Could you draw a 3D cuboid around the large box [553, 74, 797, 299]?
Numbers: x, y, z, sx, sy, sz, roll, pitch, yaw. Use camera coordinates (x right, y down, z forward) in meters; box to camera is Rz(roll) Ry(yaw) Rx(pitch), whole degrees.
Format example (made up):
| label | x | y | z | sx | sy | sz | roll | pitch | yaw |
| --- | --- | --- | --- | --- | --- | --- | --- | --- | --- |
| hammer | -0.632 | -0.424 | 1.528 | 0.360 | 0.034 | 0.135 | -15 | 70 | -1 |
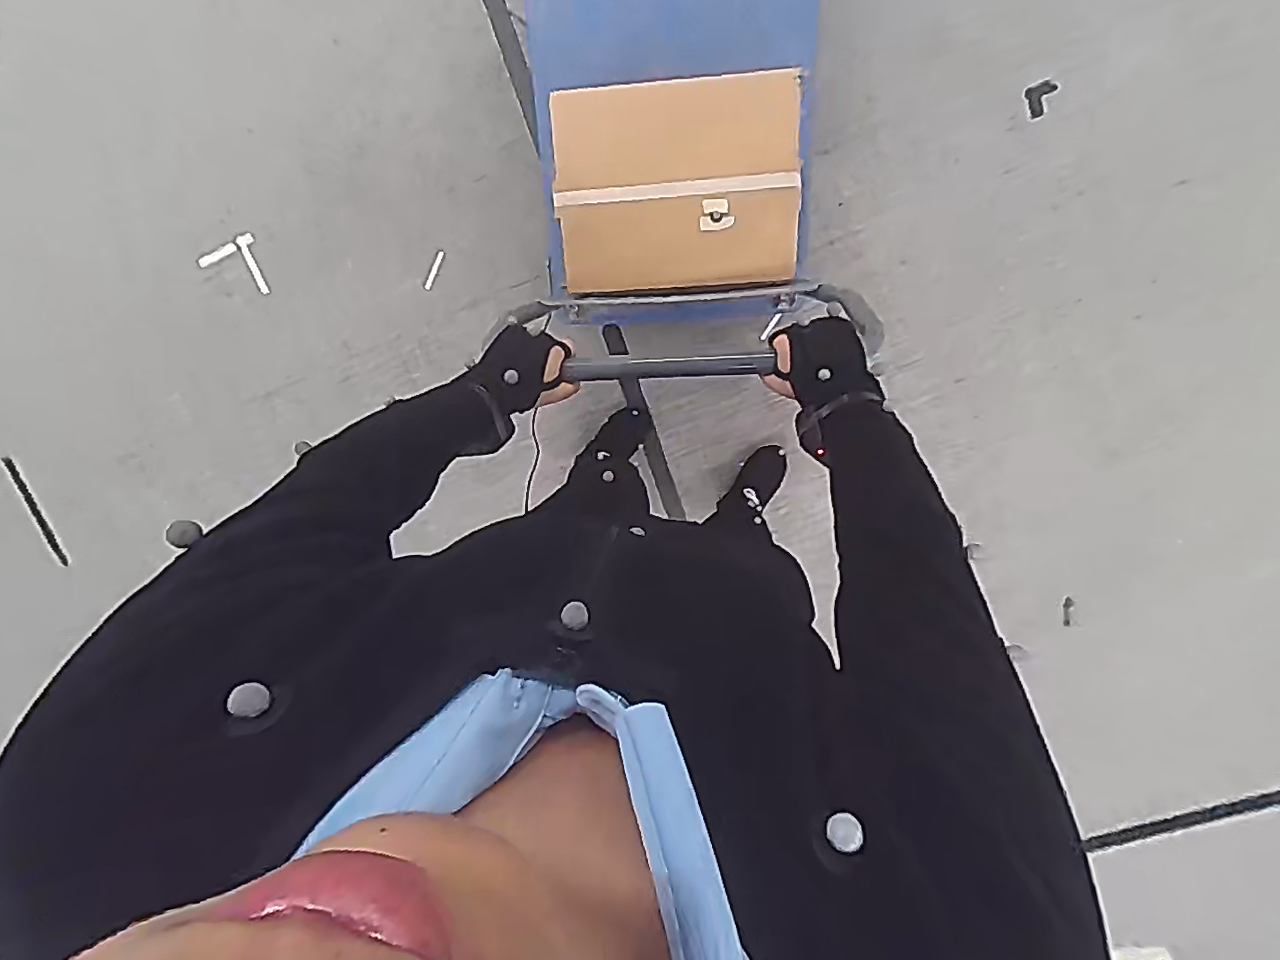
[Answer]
| label | x | y | z | sx | sy | sz | roll | pitch | yaw |
| --- | --- | --- | --- | --- | --- | --- | --- | --- | --- |
| large box | 0.072 | -0.537 | 1.065 | 0.408 | 0.320 | 0.320 | -3 | 109 | 5 |
